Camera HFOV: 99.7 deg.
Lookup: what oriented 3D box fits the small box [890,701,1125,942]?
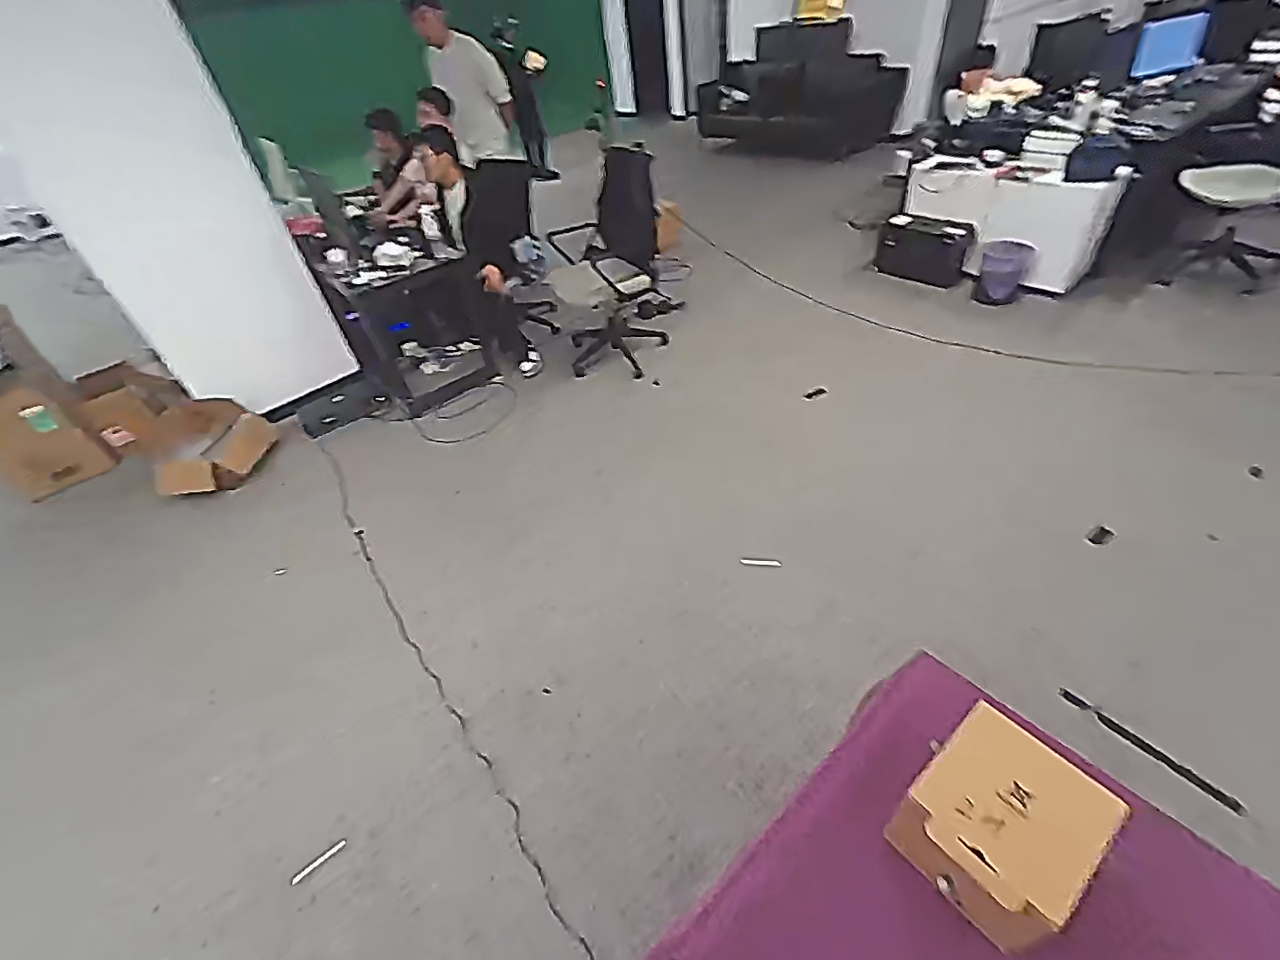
[{"bbox_3d":[0.445,0.428,0.683,0.179,0.176,0.168,-32,47,-23],"label":"small box"}]
